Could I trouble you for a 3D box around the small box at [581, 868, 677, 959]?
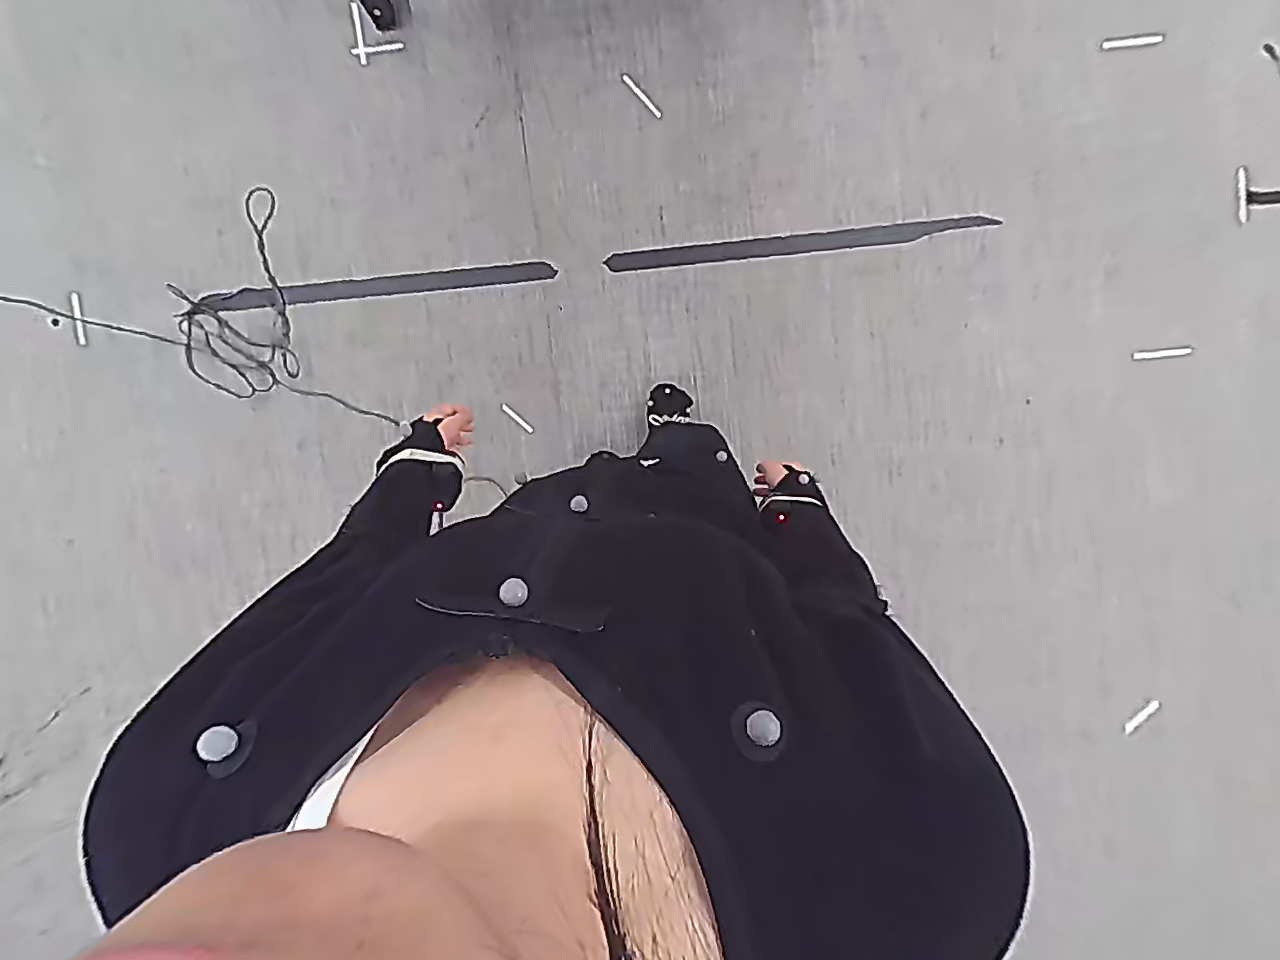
[{"bbox_3d":[-0.019,0.856,1.000,0.168,0.176,0.179,-2,94,1],"label":"small box"}]
